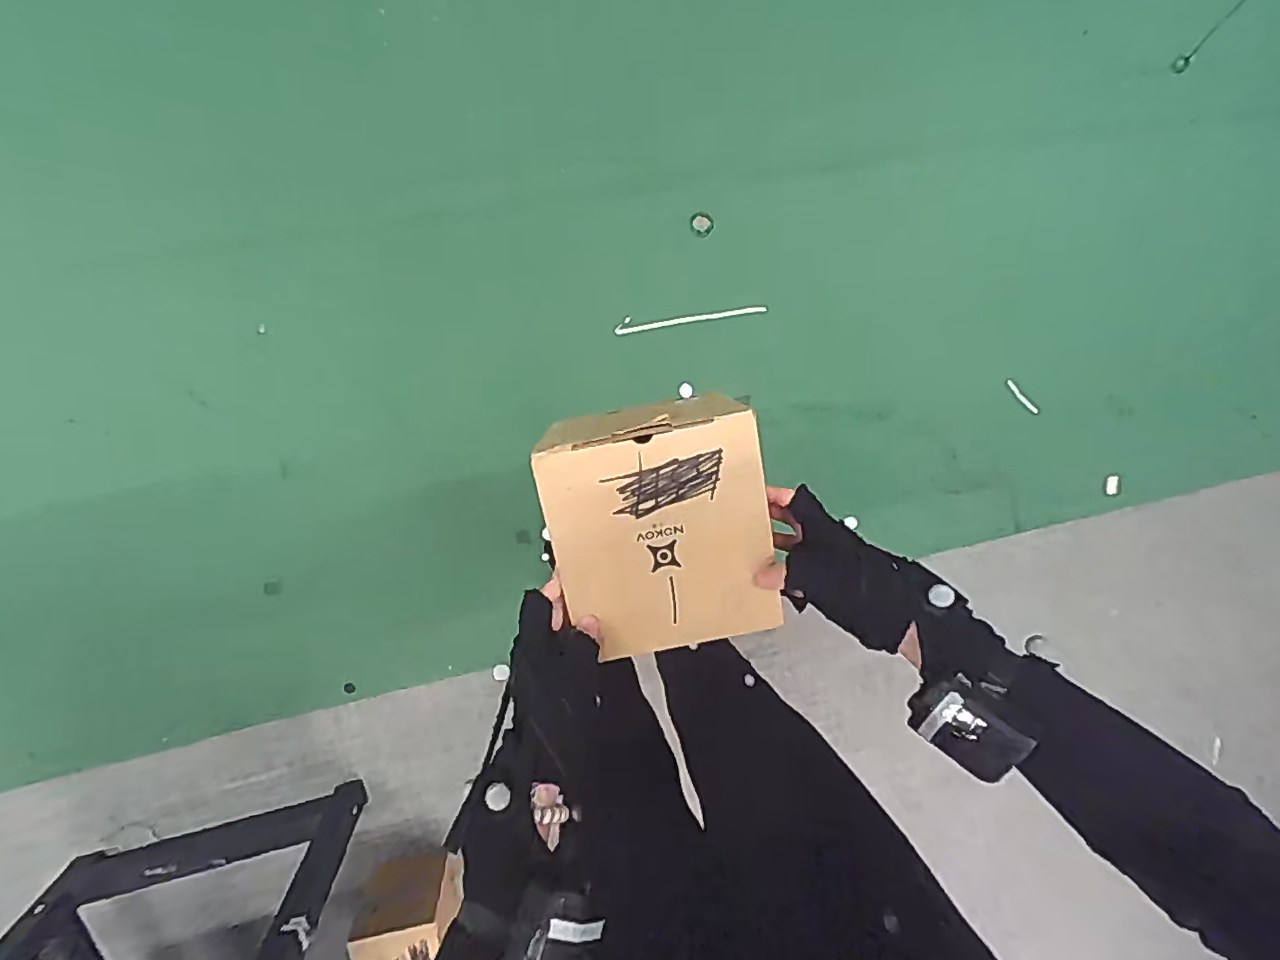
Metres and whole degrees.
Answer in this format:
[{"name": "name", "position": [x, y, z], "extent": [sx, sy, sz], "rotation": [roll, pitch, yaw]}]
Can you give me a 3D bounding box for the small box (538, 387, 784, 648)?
[{"name": "small box", "position": [0.015, 0.017, 0.481], "extent": [0.168, 0.176, 0.179], "rotation": [-11, 105, 0]}]
